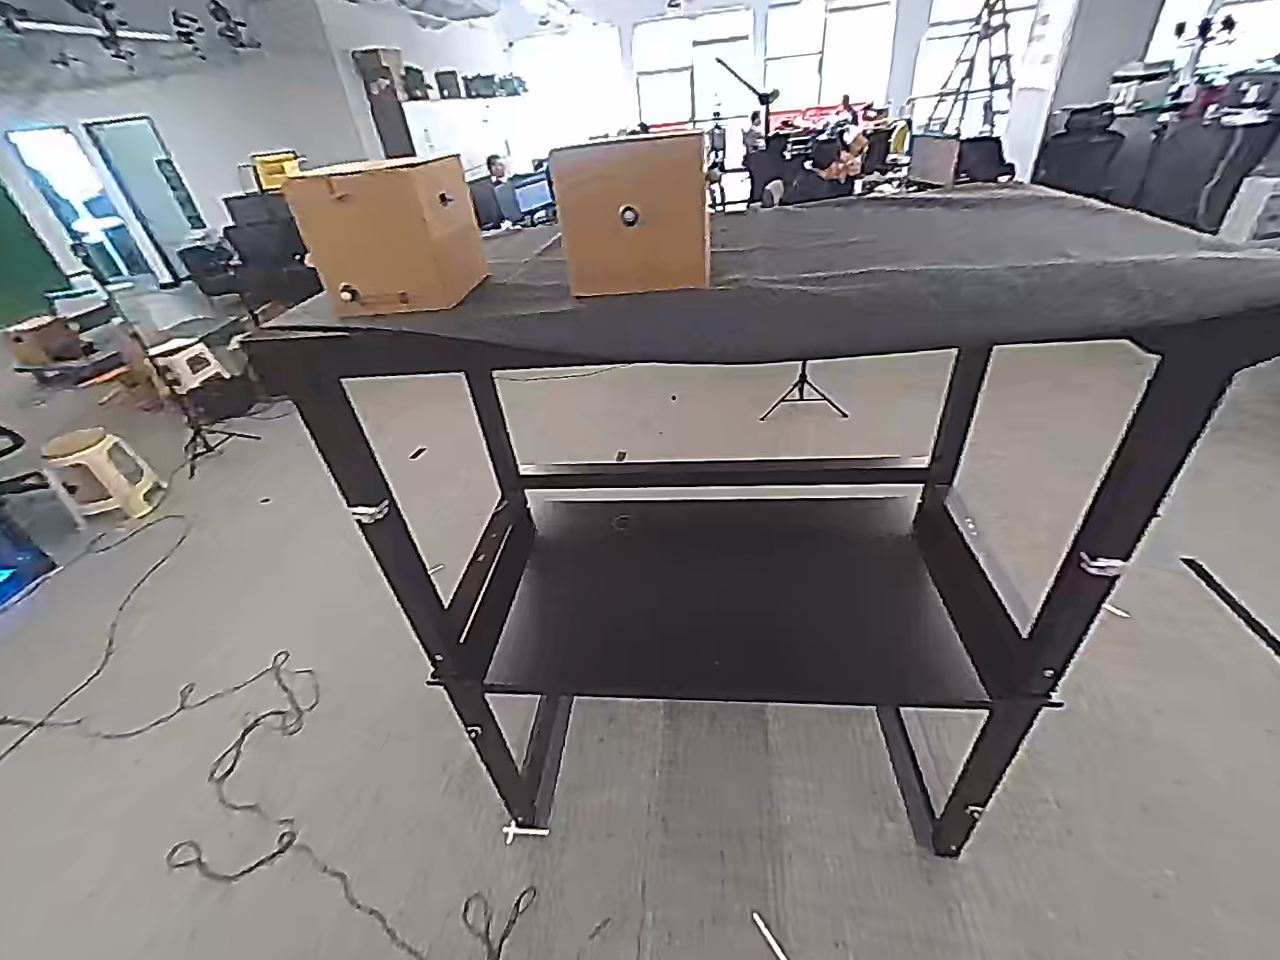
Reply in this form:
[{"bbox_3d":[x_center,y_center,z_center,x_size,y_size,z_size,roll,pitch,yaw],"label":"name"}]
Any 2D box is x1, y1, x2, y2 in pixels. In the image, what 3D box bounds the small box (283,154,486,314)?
[{"bbox_3d":[-0.328,-0.333,0.741,0.168,0.176,0.179,-2,35,6],"label":"small box"}]
